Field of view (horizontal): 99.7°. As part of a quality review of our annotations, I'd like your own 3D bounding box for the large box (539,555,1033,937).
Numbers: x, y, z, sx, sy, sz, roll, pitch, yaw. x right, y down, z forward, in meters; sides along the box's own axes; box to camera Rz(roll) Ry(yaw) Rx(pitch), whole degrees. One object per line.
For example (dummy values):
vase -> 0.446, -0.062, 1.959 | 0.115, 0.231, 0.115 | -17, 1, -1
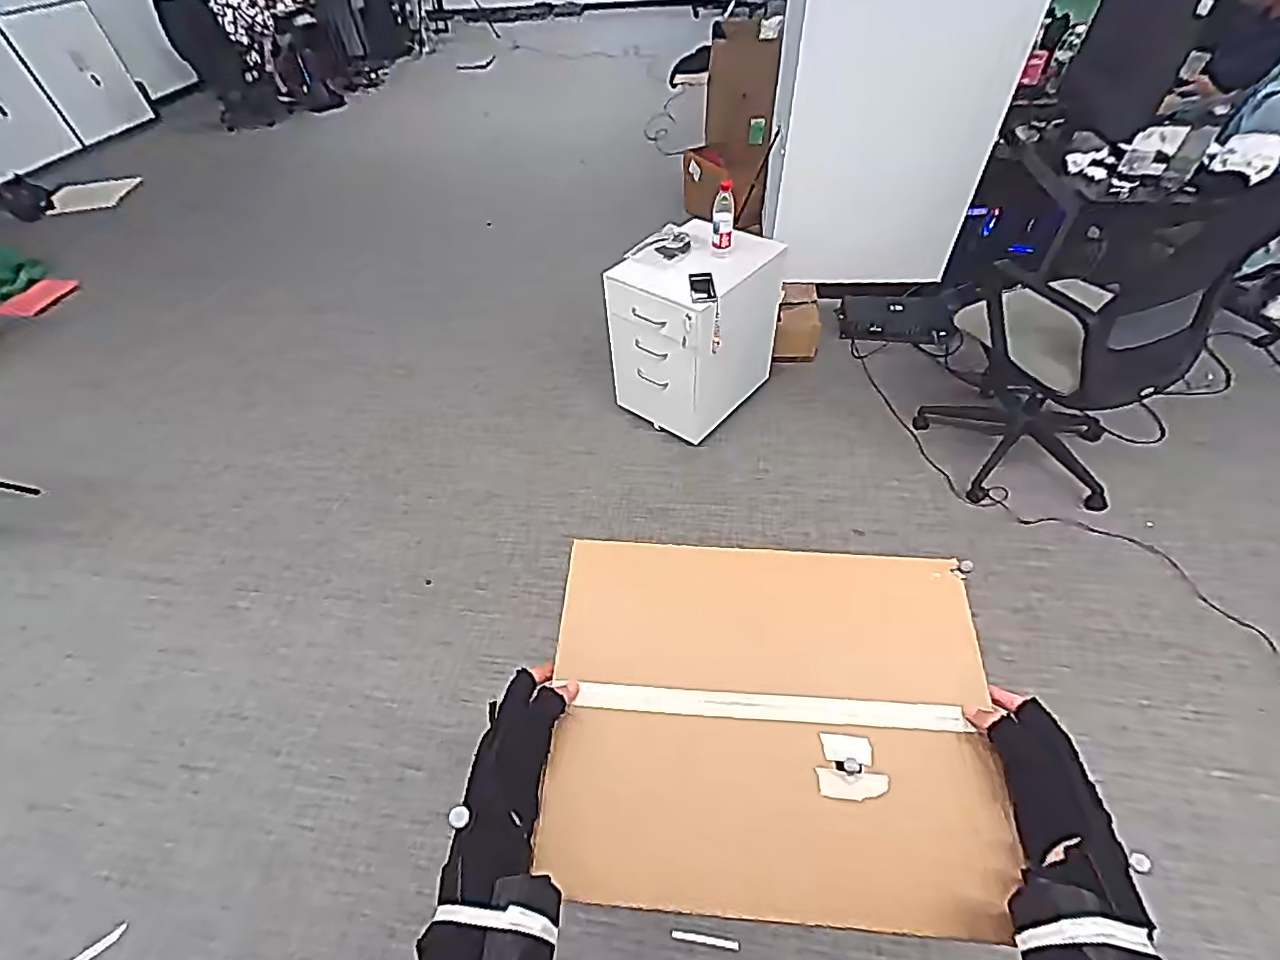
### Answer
large box -> 0.123, 0.297, 0.635 | 0.408, 0.320, 0.320 | 2, 60, 3
